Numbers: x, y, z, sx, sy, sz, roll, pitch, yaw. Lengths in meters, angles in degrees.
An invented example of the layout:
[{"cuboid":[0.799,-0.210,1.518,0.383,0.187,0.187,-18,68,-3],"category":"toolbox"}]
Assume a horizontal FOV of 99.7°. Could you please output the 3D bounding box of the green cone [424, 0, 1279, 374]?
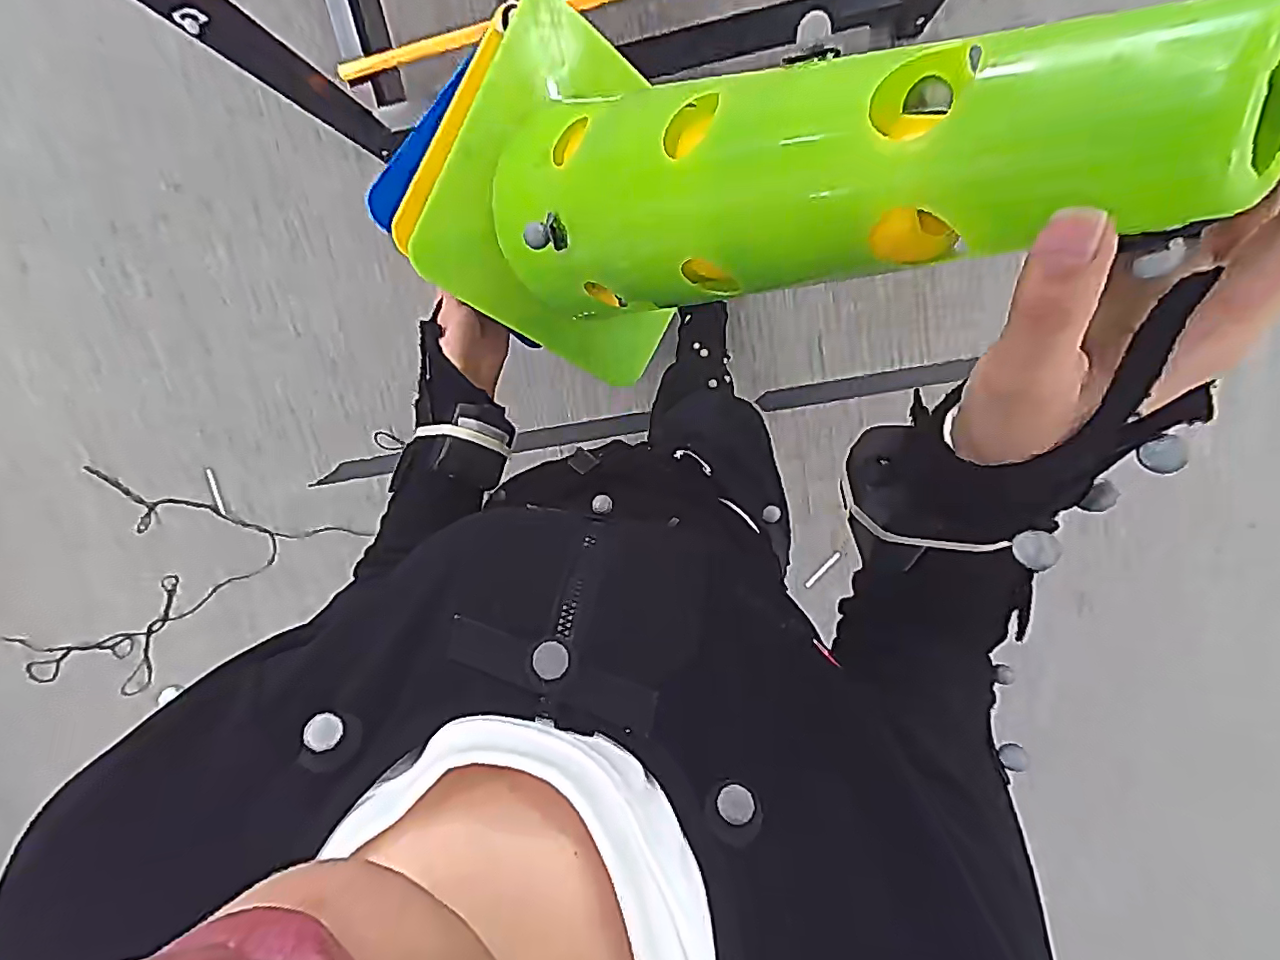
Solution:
[{"cuboid":[0.054,-0.141,0.246,0.200,0.368,0.202,24,97,-34],"category":"green cone"}]
